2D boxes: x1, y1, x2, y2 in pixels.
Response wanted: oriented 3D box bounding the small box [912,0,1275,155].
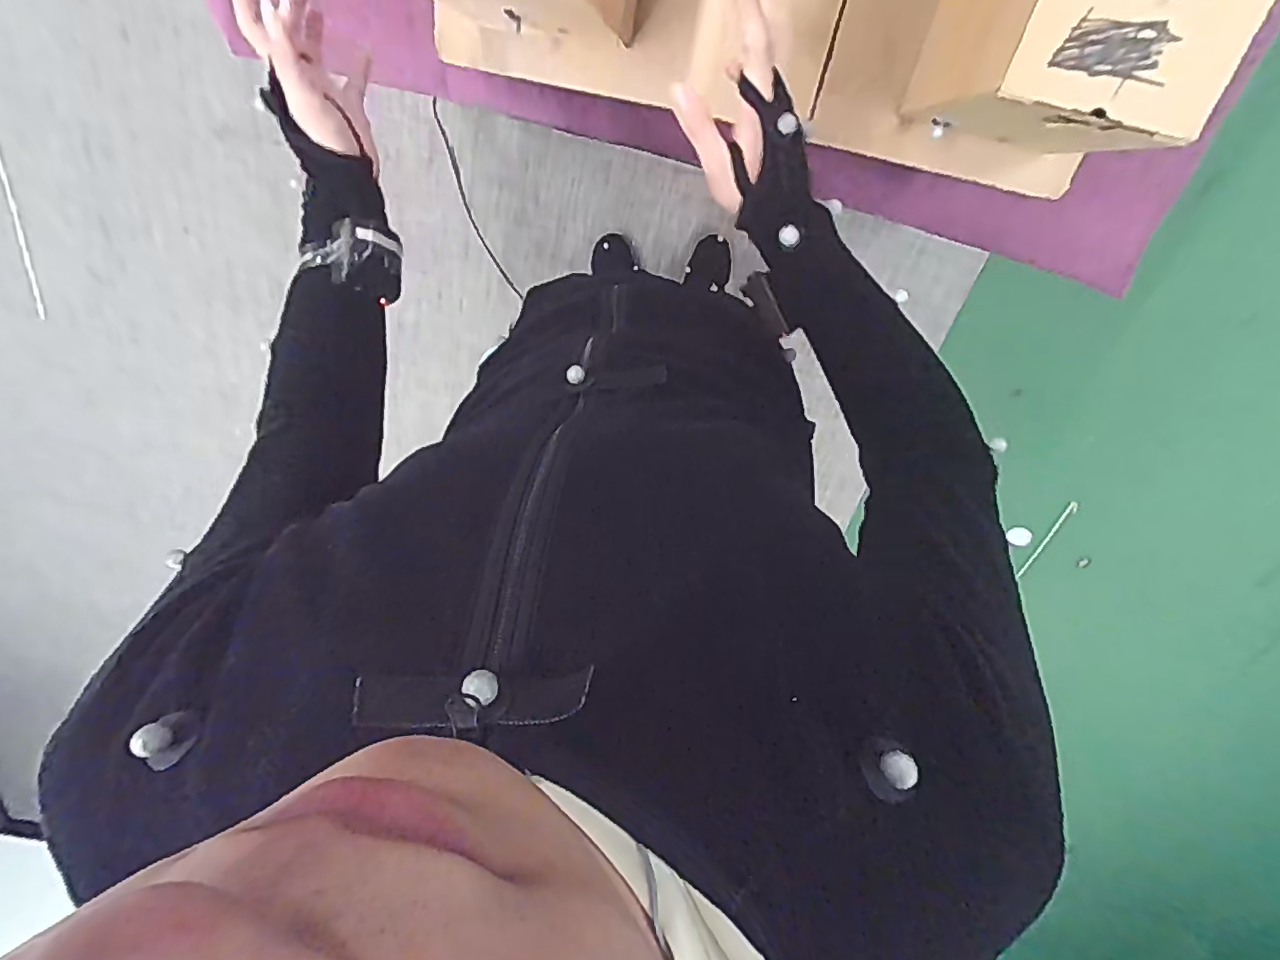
[{"bbox_3d":[0.354,-0.378,0.436,0.168,0.176,0.179,9,117,-7],"label":"small box"}]
